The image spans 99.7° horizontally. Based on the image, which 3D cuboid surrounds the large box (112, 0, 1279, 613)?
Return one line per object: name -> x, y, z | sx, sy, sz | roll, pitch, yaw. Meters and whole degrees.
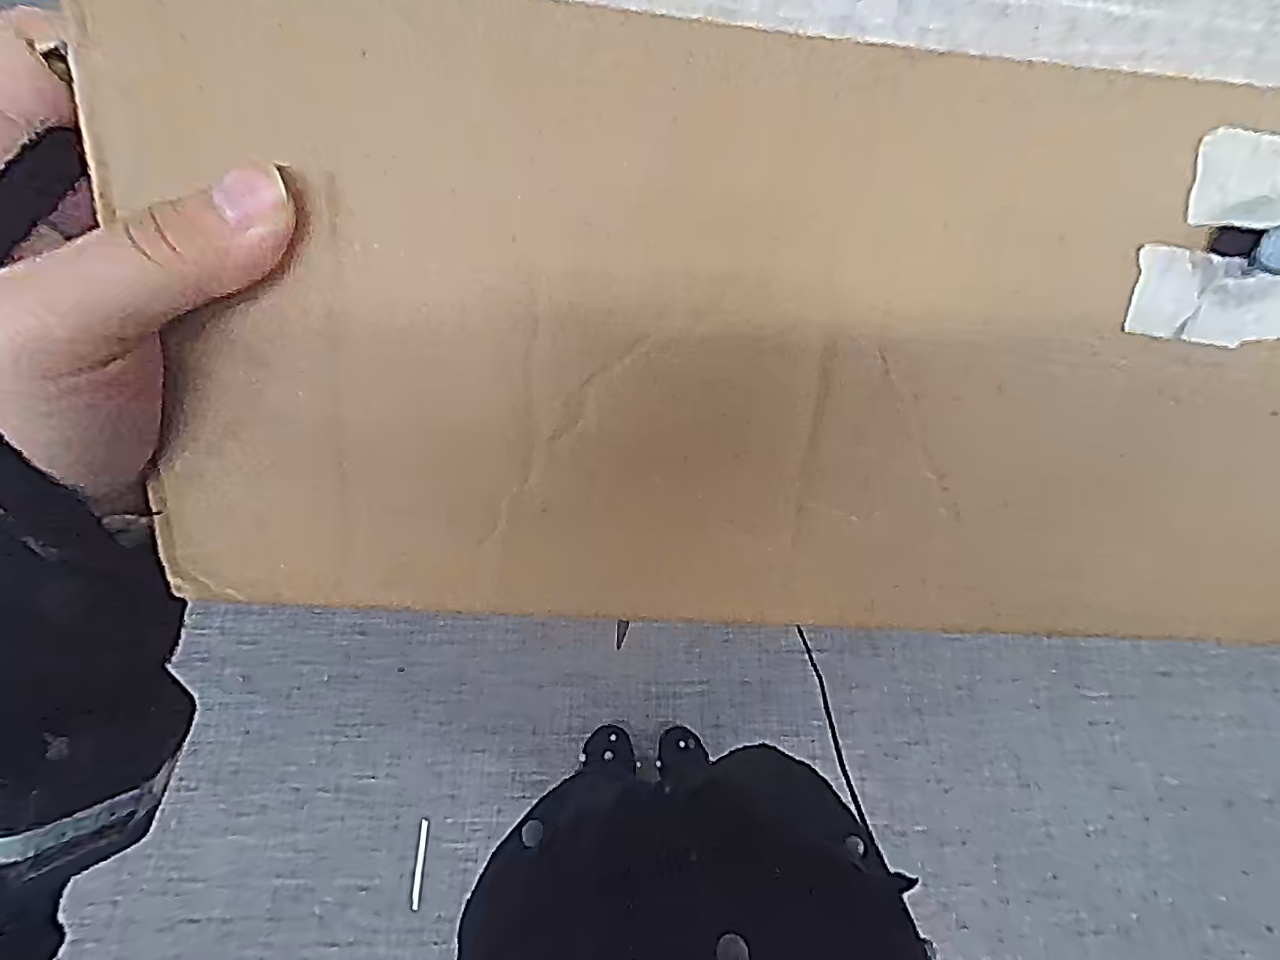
large box -> 0.072, -0.145, 0.275 | 0.408, 0.320, 0.320 | 2, 106, -6
